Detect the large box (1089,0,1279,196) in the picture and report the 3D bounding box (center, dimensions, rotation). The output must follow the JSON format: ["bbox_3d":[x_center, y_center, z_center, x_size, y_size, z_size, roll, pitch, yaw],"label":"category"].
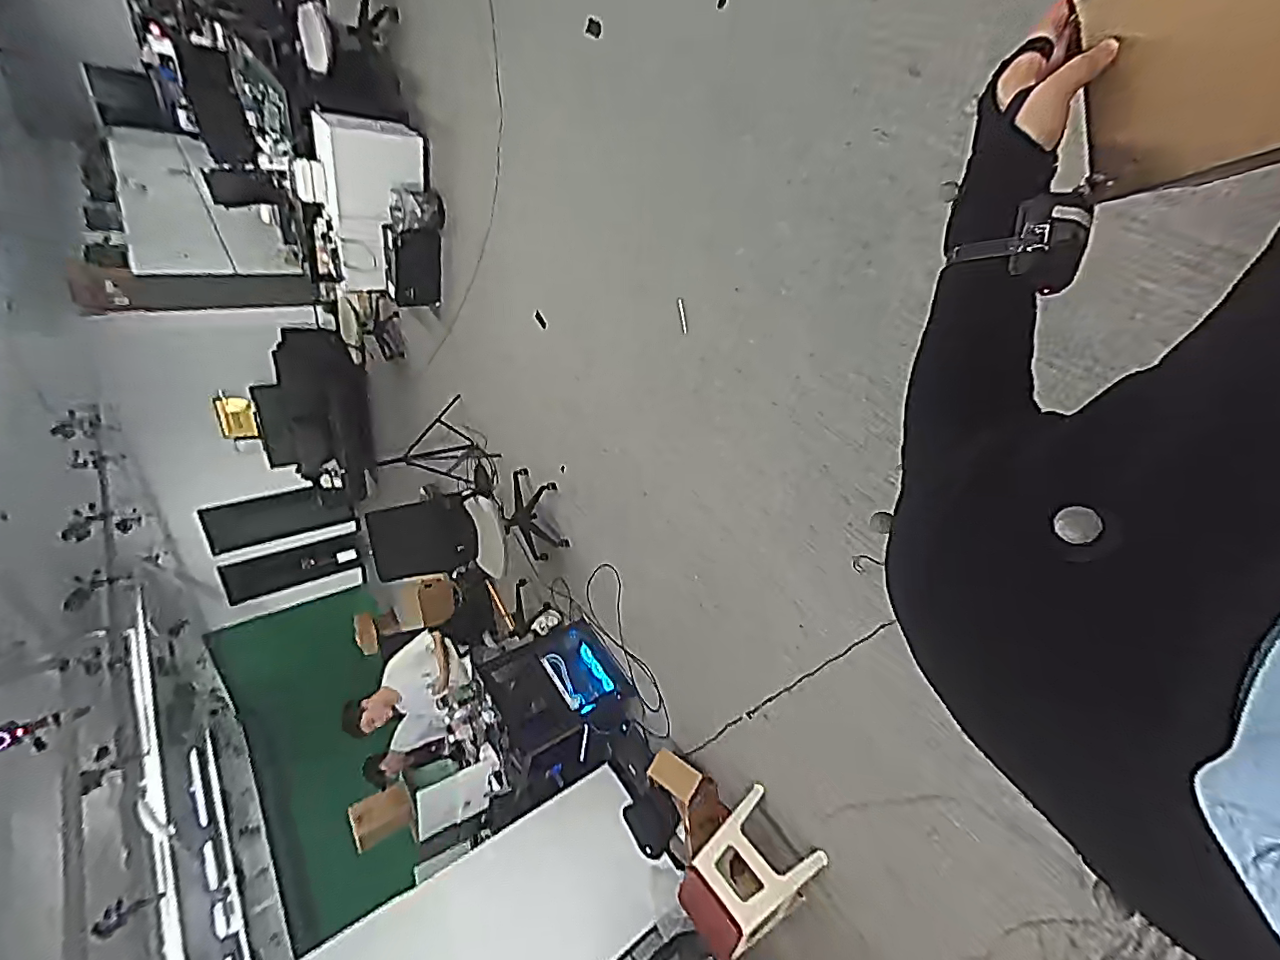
[{"bbox_3d":[0.565,-0.420,0.317,0.408,0.320,0.320,2,110,57],"label":"large box"}]
